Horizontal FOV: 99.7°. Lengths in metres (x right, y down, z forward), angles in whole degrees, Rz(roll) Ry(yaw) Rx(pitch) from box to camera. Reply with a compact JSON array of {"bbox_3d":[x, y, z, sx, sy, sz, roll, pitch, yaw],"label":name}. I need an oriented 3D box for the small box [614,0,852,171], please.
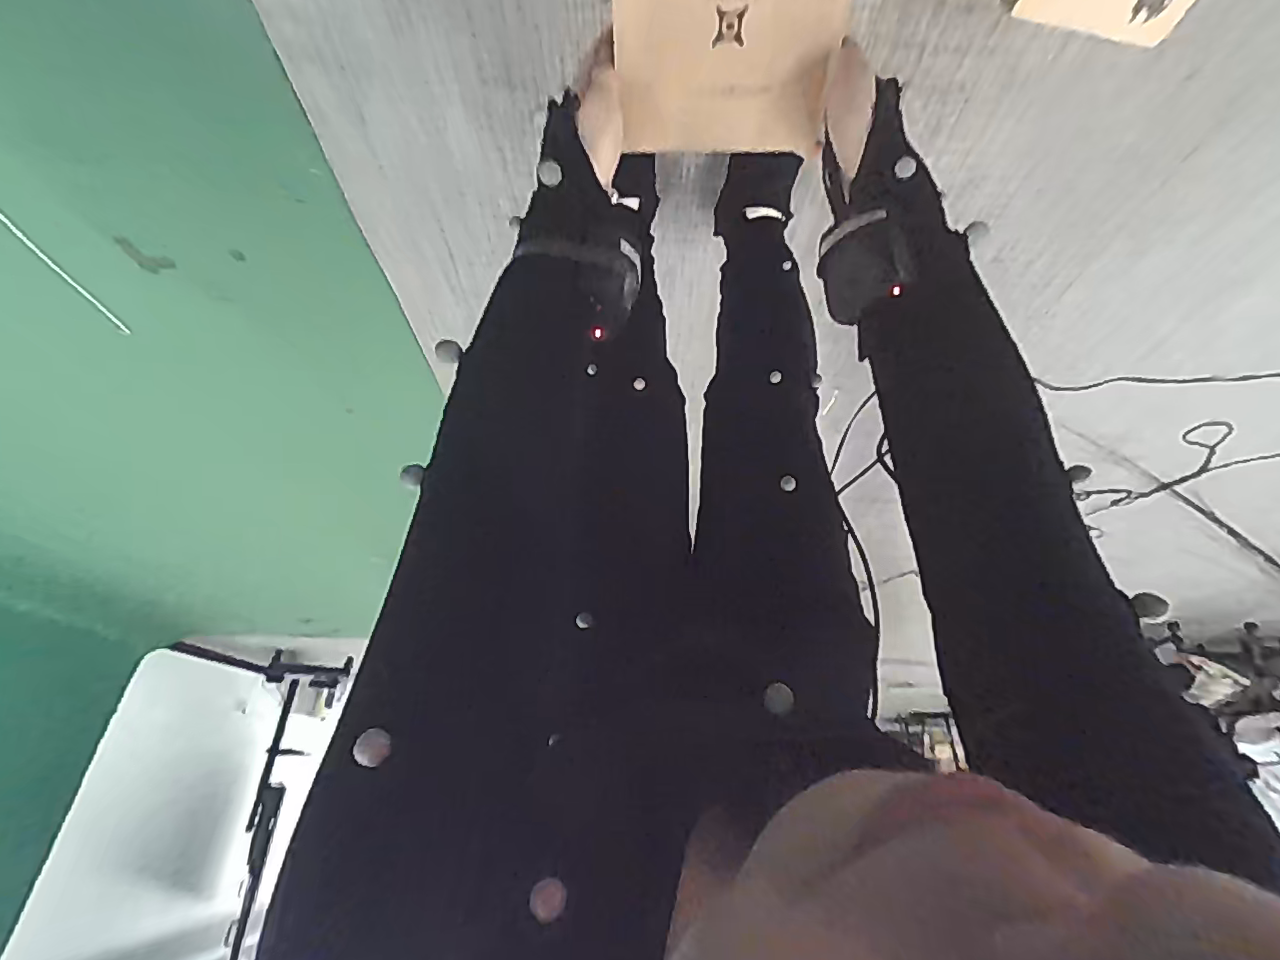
[{"bbox_3d":[0.063,-0.379,0.432,0.168,0.176,0.179,0,148,1],"label":"small box"}]
